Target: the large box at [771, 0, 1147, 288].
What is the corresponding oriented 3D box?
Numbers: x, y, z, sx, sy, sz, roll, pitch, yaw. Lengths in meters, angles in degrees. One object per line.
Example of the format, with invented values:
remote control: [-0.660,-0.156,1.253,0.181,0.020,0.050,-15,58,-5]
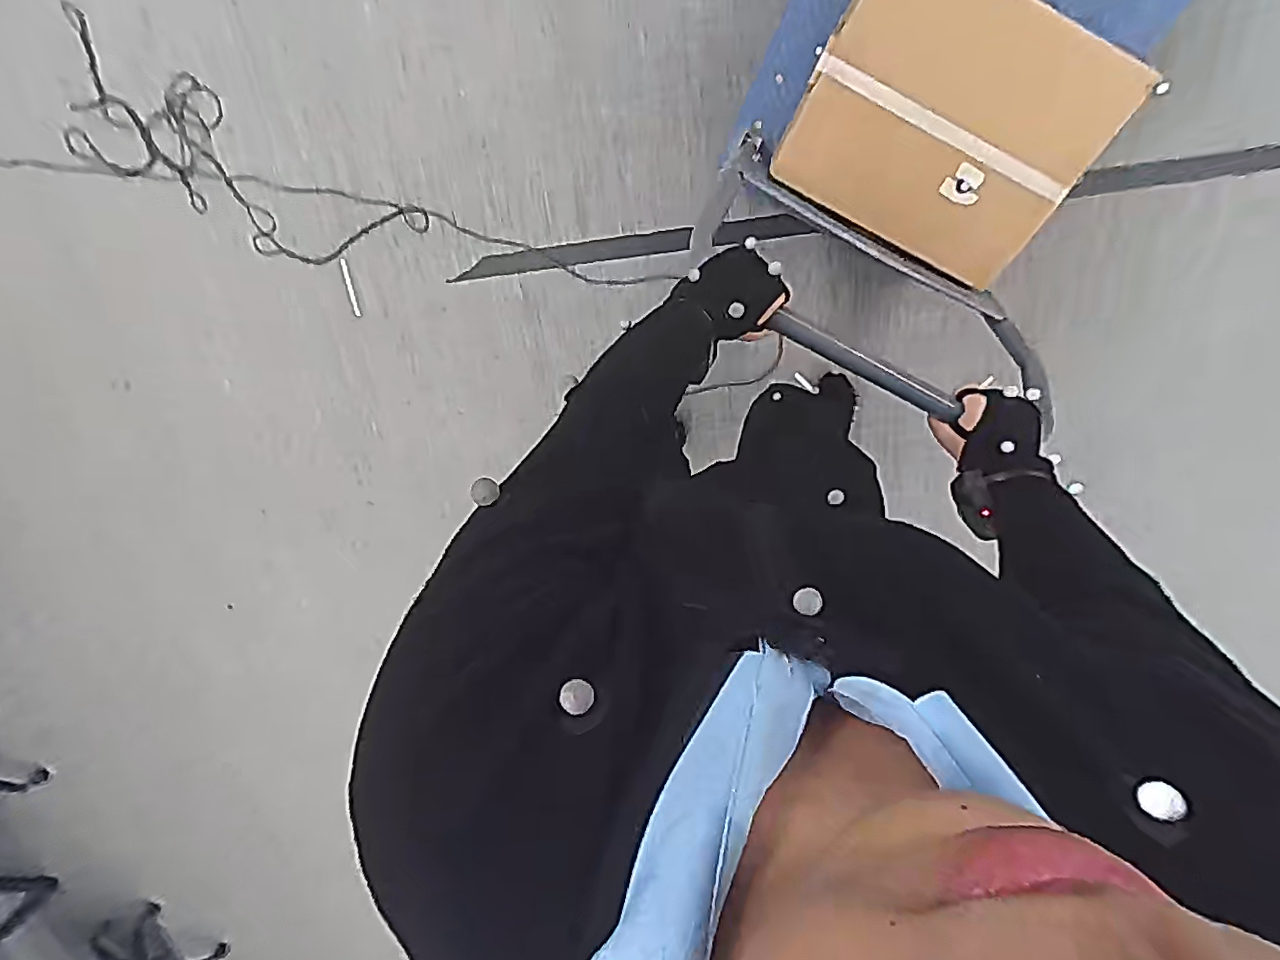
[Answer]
large box: [0.473,-0.592,0.917,0.408,0.320,0.320,26,127,-5]
